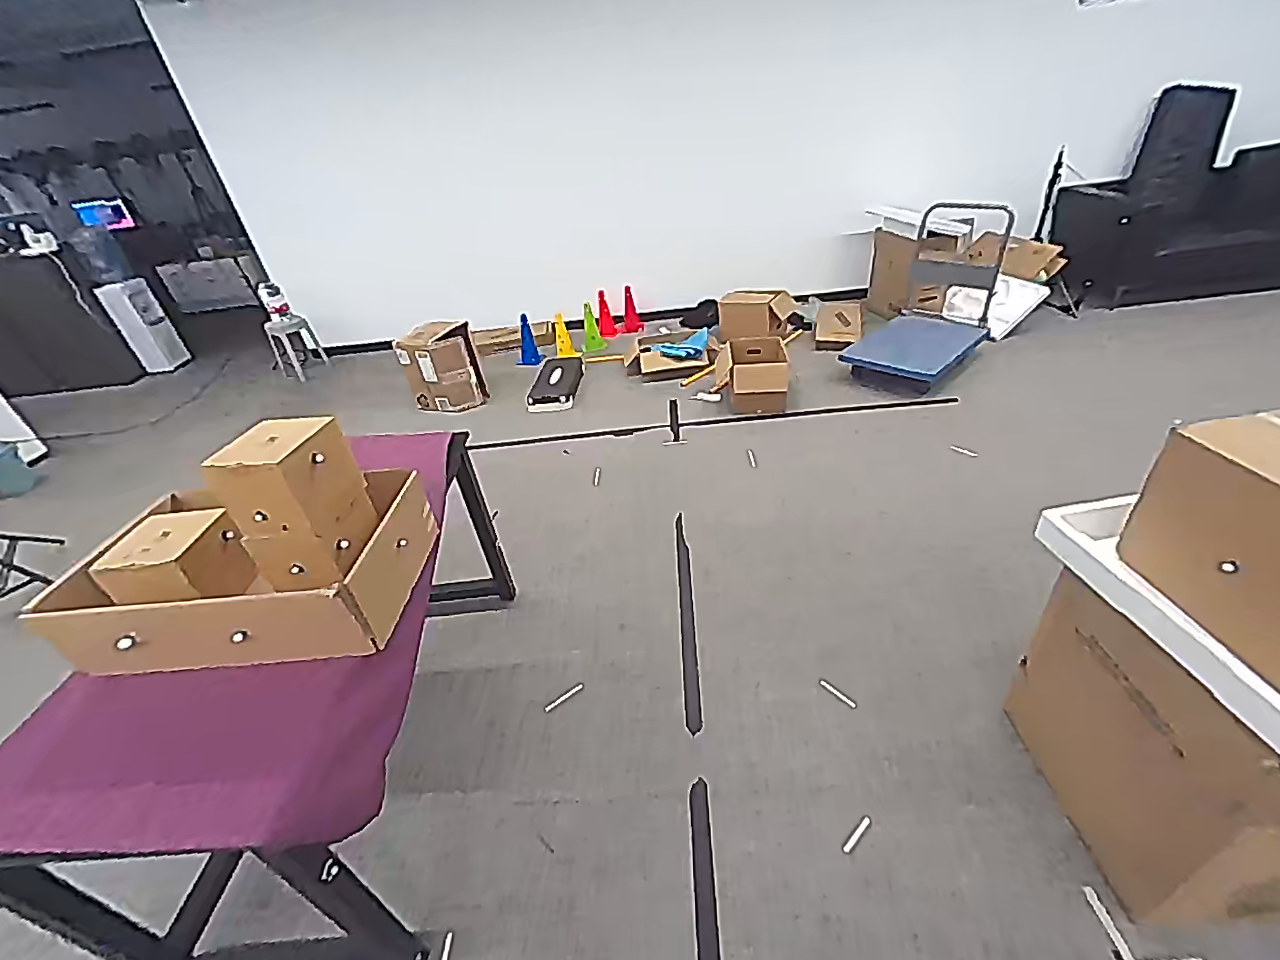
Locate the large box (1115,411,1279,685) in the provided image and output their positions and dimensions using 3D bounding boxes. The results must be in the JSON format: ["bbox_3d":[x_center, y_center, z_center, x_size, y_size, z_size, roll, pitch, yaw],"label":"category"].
[{"bbox_3d":[1.156,0.115,0.912,0.320,0.320,0.408,-7,32,0],"label":"large box"}]

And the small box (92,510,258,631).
[{"bbox_3d":[-0.937,0.184,1.116,0.168,0.176,0.179,-6,33,0],"label":"small box"}]
